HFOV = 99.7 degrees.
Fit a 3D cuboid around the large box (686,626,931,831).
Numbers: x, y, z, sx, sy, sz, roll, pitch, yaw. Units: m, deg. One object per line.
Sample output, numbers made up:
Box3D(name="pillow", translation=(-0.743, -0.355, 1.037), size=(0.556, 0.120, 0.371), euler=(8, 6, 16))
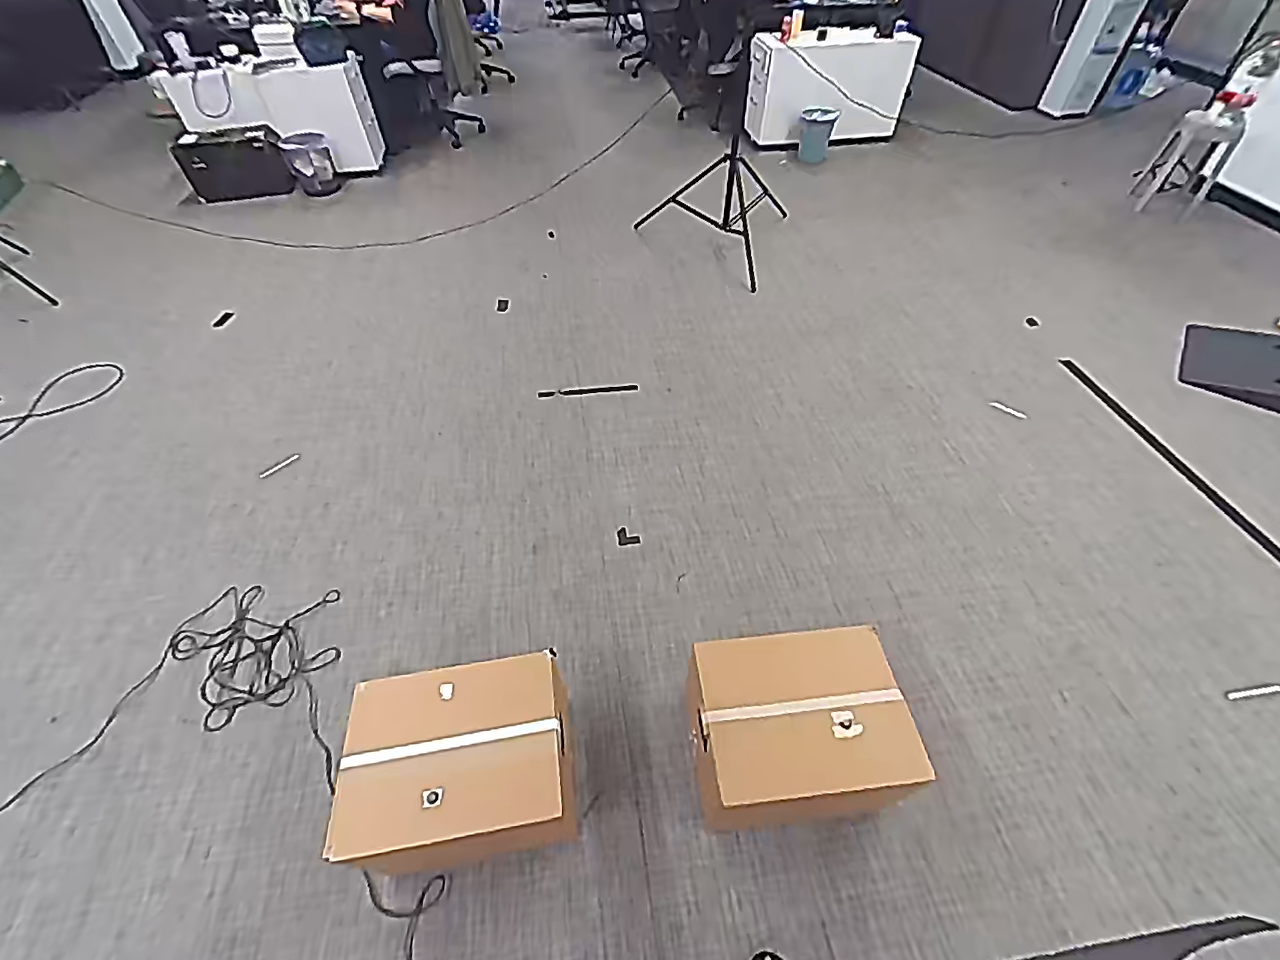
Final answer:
Box3D(name="large box", translation=(0.333, 0.554, 1.203), size=(0.408, 0.320, 0.320), euler=(-4, 49, -4))
